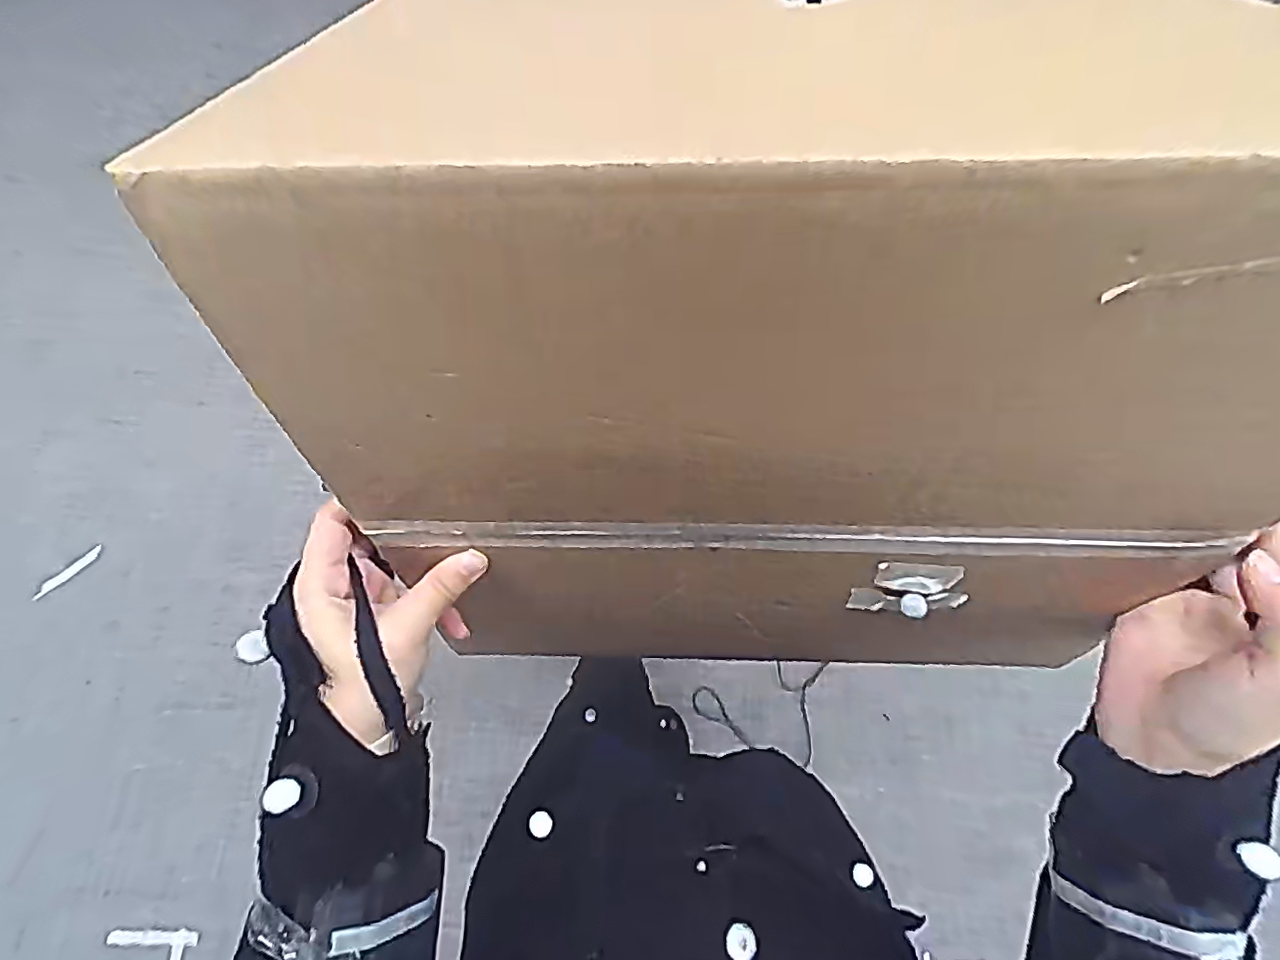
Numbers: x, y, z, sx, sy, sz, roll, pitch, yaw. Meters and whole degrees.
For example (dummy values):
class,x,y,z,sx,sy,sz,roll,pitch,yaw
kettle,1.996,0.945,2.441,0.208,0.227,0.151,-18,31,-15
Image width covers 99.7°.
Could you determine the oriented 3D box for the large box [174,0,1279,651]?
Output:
class,x,y,z,sx,sy,sz,roll,pitch,yaw
large box,0.067,-0.094,0.354,0.408,0.320,0.320,0,52,2
